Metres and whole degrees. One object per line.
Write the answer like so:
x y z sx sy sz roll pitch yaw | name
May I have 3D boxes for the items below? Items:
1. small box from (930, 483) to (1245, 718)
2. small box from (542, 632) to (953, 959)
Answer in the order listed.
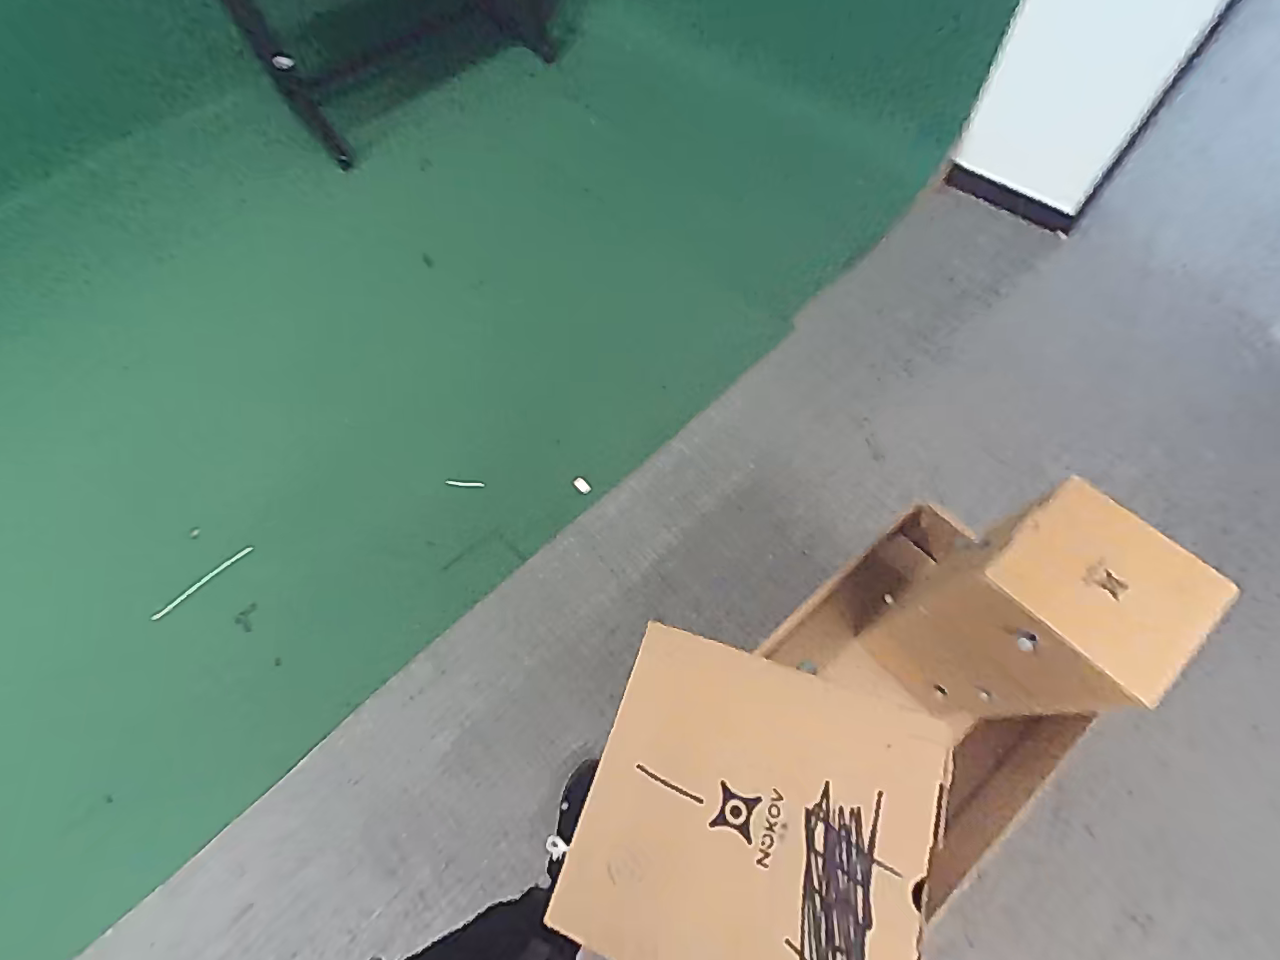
0.476 0.140 0.609 0.168 0.176 0.179 -39 68 -13 | small box
0.070 0.217 0.350 0.179 0.176 0.168 14 67 17 | small box
